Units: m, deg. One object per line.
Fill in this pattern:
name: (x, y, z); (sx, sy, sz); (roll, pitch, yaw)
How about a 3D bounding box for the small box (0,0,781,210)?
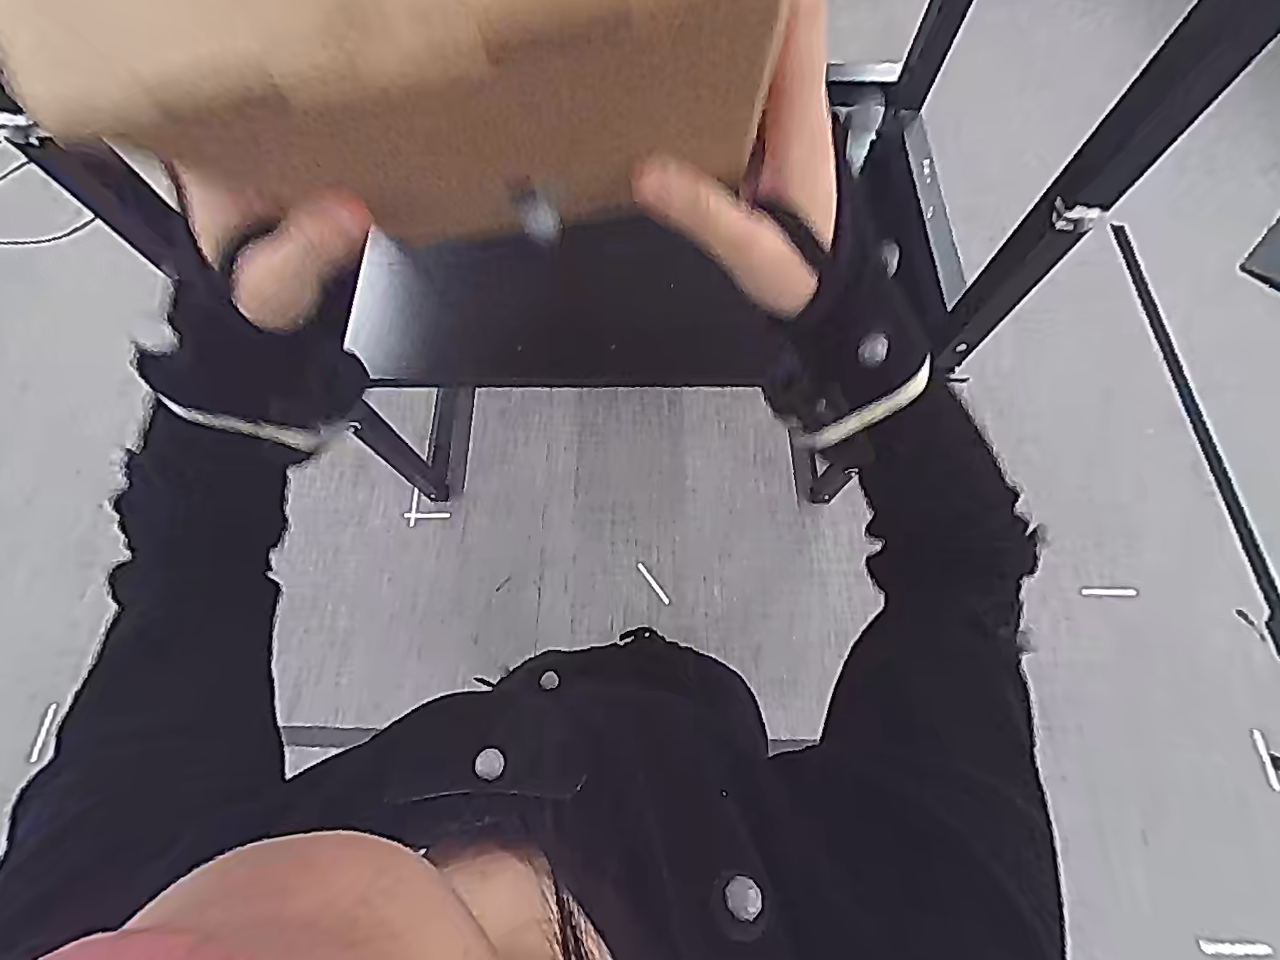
small box: (-0.052, -0.200, 0.158); (0.168, 0.176, 0.179); (-5, 106, 8)
